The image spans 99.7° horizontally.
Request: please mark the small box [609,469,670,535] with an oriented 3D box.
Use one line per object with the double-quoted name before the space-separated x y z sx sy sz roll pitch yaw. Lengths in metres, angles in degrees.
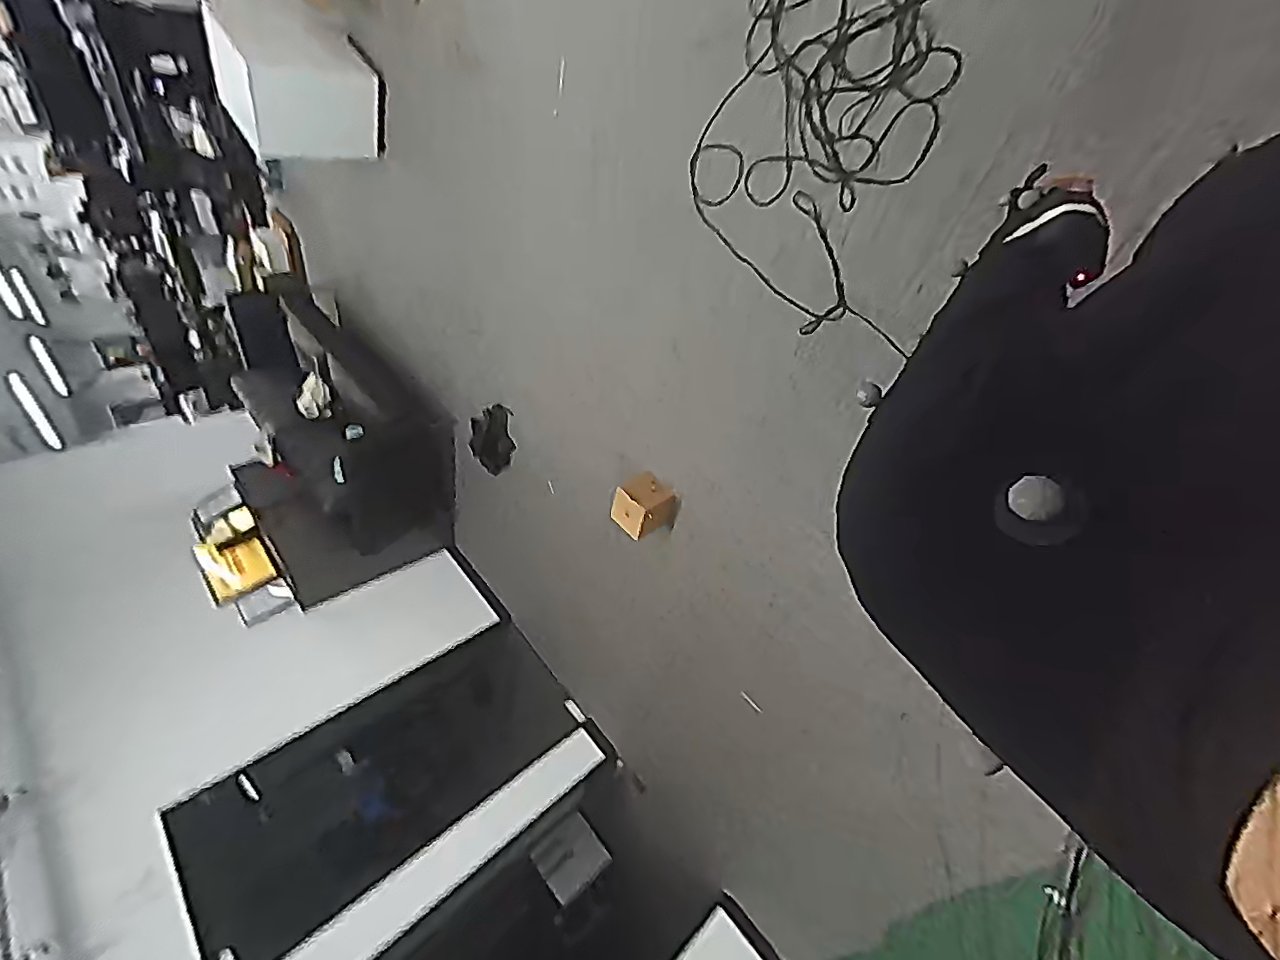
"small box" 0.000 0.085 2.169 0.168 0.176 0.179 41 136 29
